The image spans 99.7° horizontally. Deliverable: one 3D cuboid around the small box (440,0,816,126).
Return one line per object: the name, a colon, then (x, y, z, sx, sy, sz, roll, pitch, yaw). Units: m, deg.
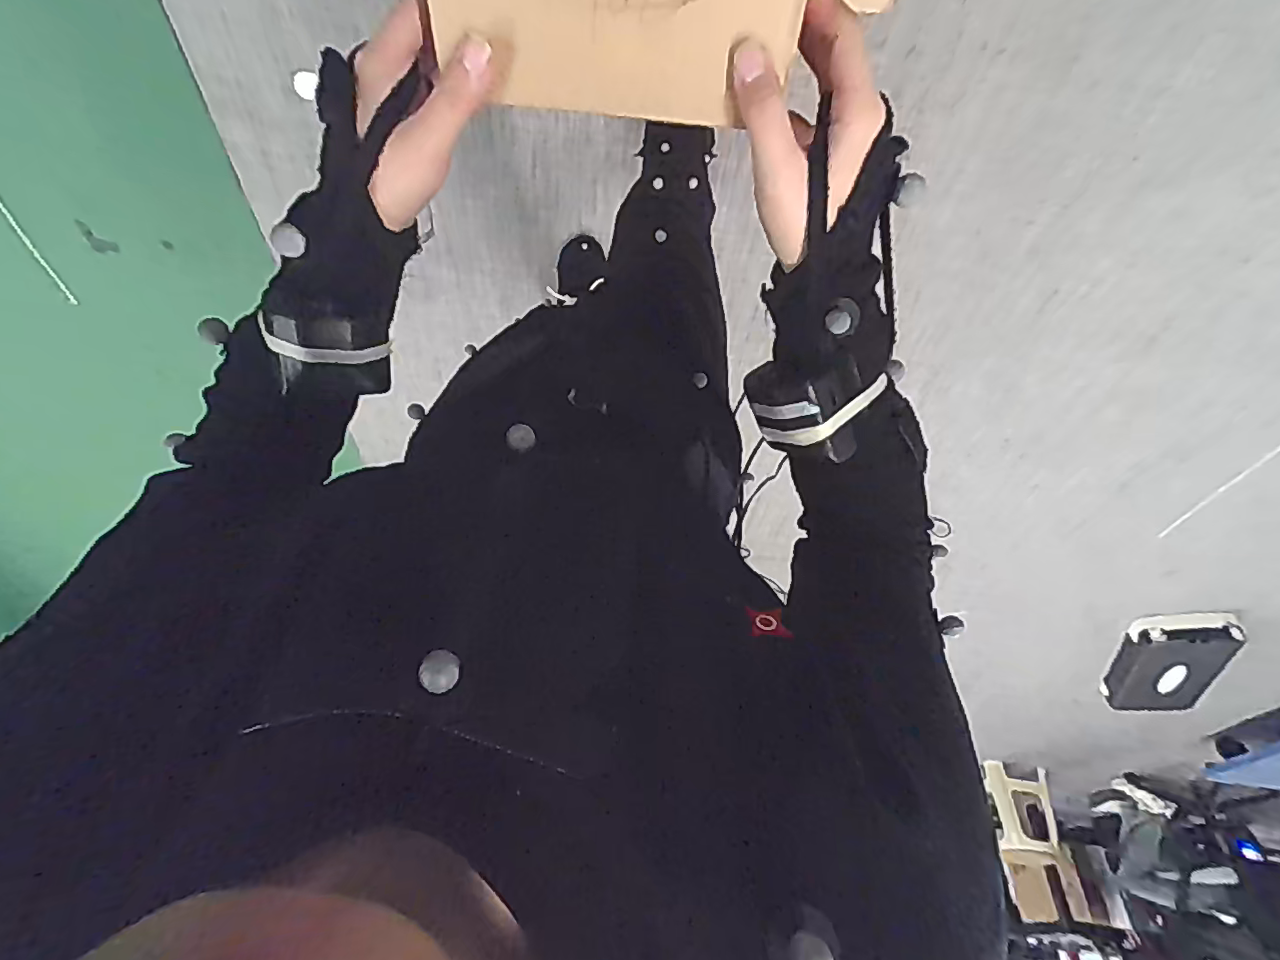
small box: (0.005, -0.296, 0.255, 0.168, 0.176, 0.179, 8, 136, 3)
